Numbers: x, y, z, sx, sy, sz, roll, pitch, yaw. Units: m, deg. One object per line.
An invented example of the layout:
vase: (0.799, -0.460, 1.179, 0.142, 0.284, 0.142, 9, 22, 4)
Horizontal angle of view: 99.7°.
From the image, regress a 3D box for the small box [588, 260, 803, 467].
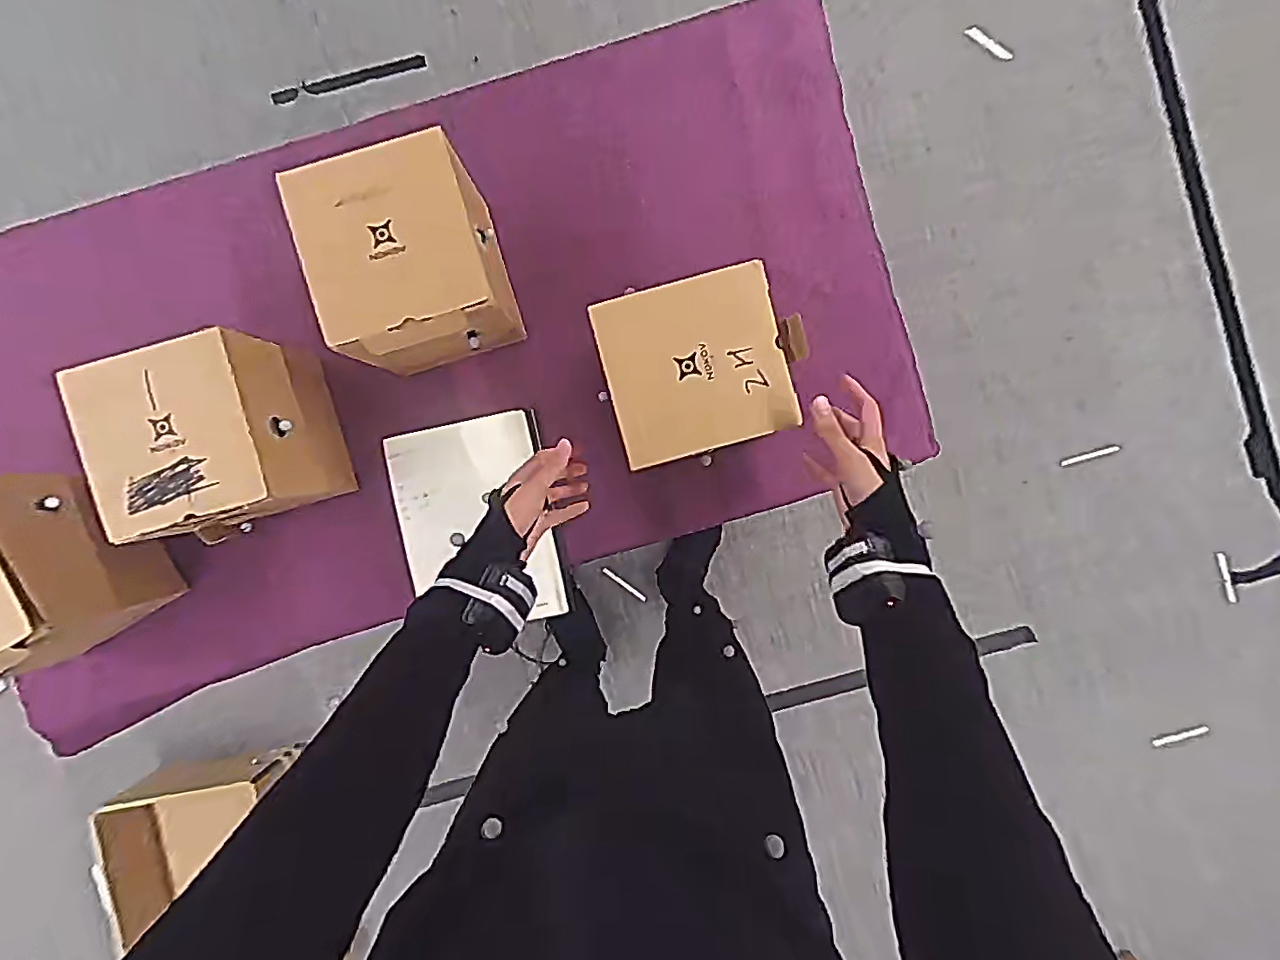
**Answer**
small box: (0.054, -0.111, 0.591, 0.179, 0.176, 0.168, -14, 92, 1)

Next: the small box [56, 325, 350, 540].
small box: (-0.455, -0.048, 0.596, 0.168, 0.176, 0.179, -15, 91, 0)

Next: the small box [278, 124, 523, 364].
small box: (-0.240, -0.234, 0.589, 0.168, 0.176, 0.179, -16, 92, 0)
